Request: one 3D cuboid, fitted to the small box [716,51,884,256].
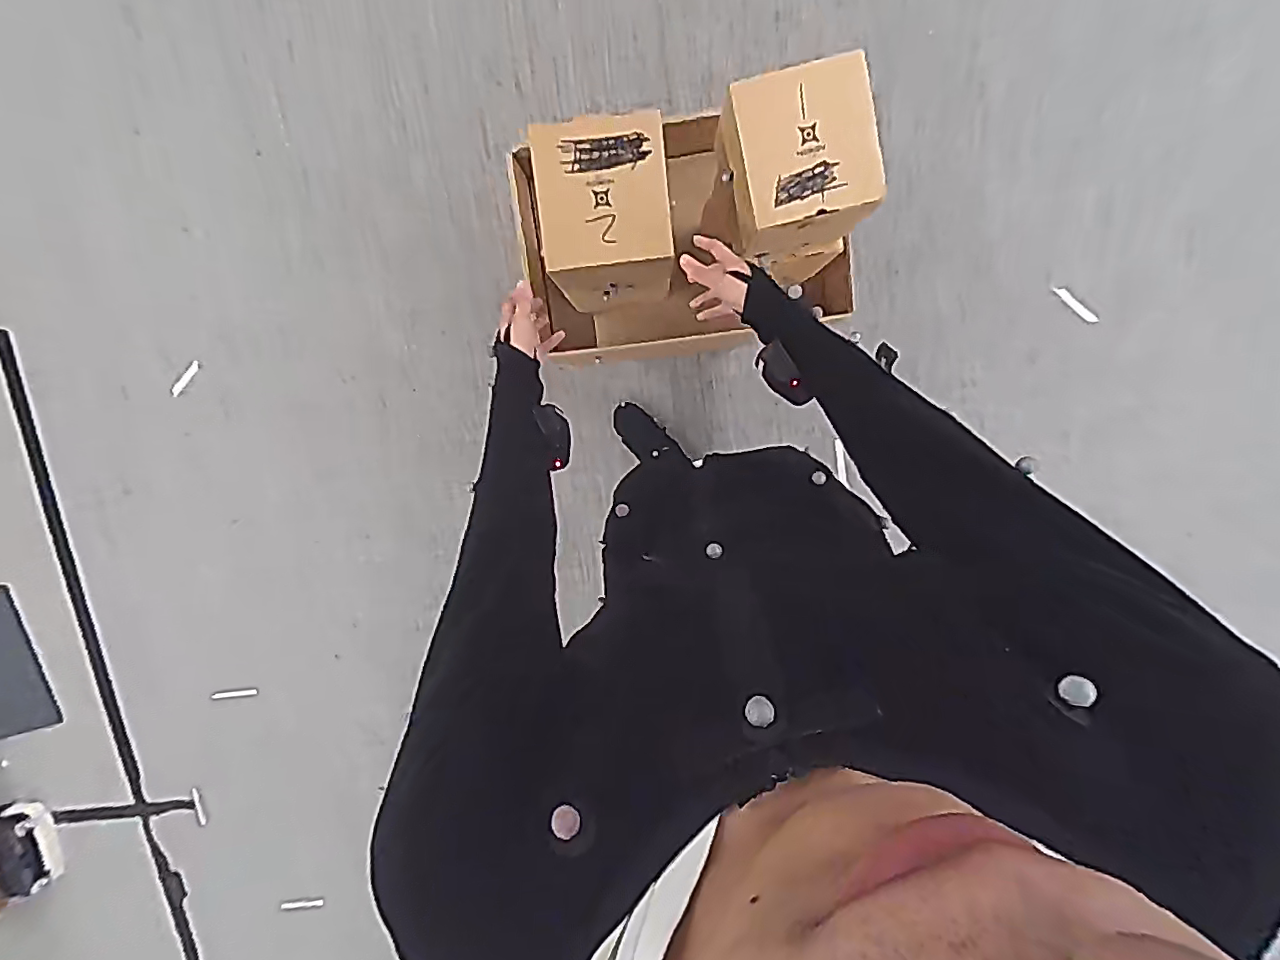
[{"bbox_3d":[0.205,-0.420,0.734,0.168,0.176,0.179,-13,98,3],"label":"small box"}]

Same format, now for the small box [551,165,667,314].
[{"bbox_3d":[-0.046,-0.392,0.910,0.168,0.176,0.179,-7,97,3],"label":"small box"}]

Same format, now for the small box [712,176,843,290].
[{"bbox_3d":[0.218,-0.433,0.898,0.168,0.176,0.179,-10,99,3],"label":"small box"}]
